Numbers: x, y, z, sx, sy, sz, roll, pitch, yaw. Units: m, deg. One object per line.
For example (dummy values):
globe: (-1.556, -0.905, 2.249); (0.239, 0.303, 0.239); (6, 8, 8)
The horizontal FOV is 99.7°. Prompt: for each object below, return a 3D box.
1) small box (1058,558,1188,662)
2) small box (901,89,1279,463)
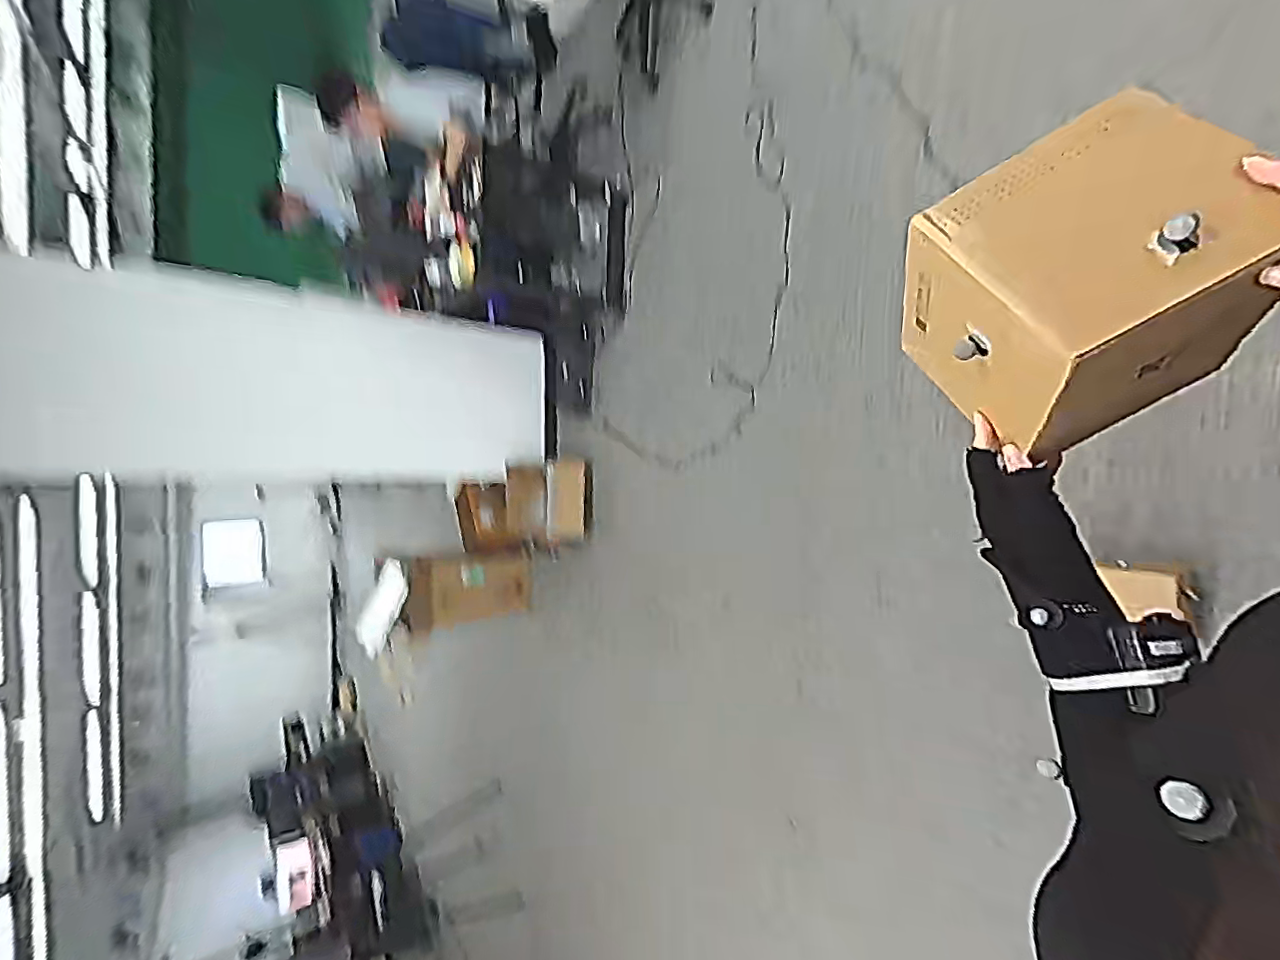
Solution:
small box: (0.992, 0.255, 1.109); (0.179, 0.176, 0.168); (-1, 89, 53)
small box: (0.331, -0.149, 0.421); (0.179, 0.168, 0.176); (-29, 59, 8)
